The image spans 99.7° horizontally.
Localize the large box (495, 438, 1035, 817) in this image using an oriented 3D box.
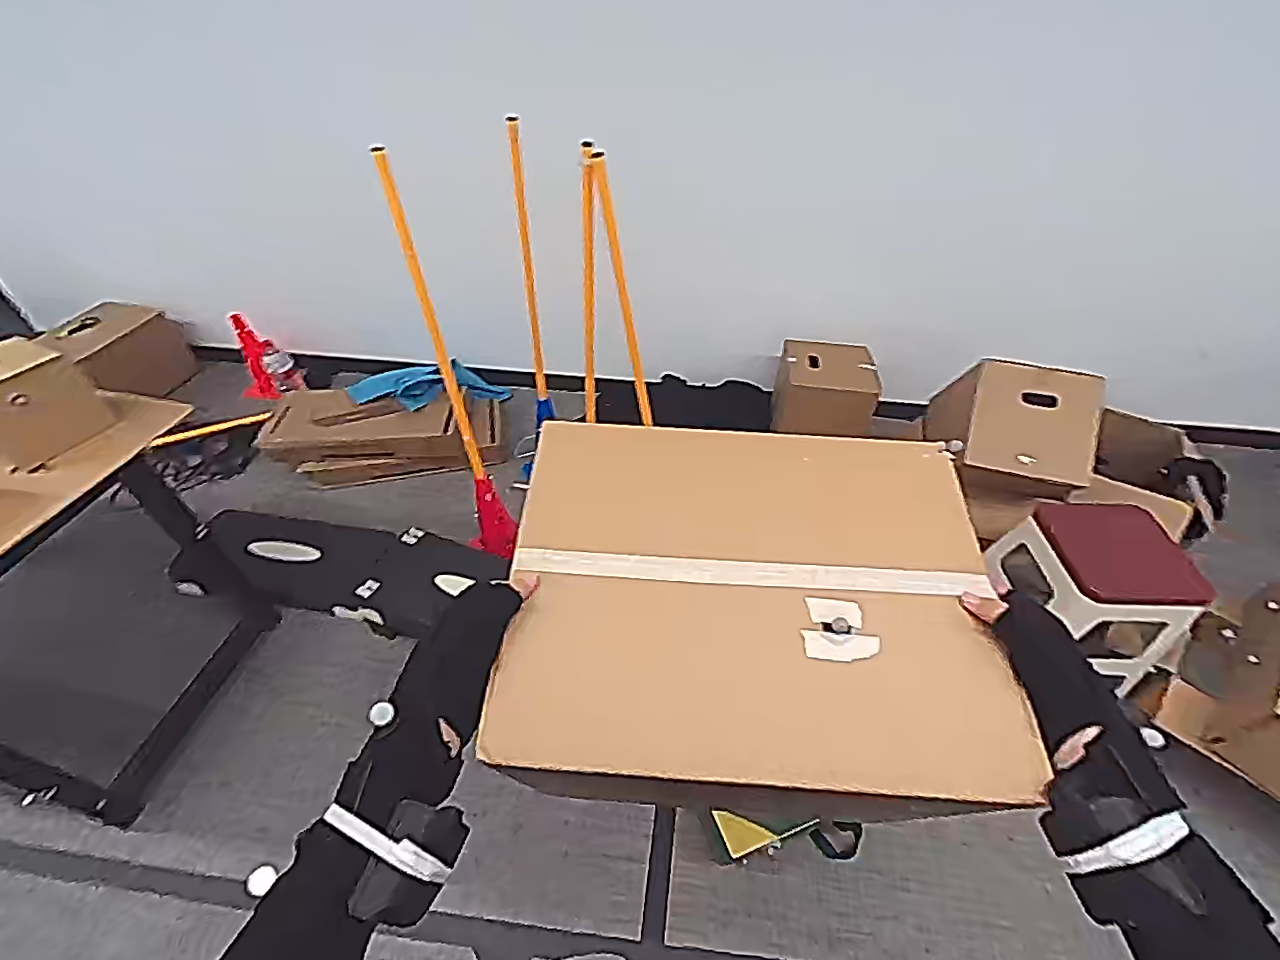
[{"bbox_3d":[0.094,0.175,0.597,0.408,0.320,0.320,4,57,2],"label":"large box"}]
